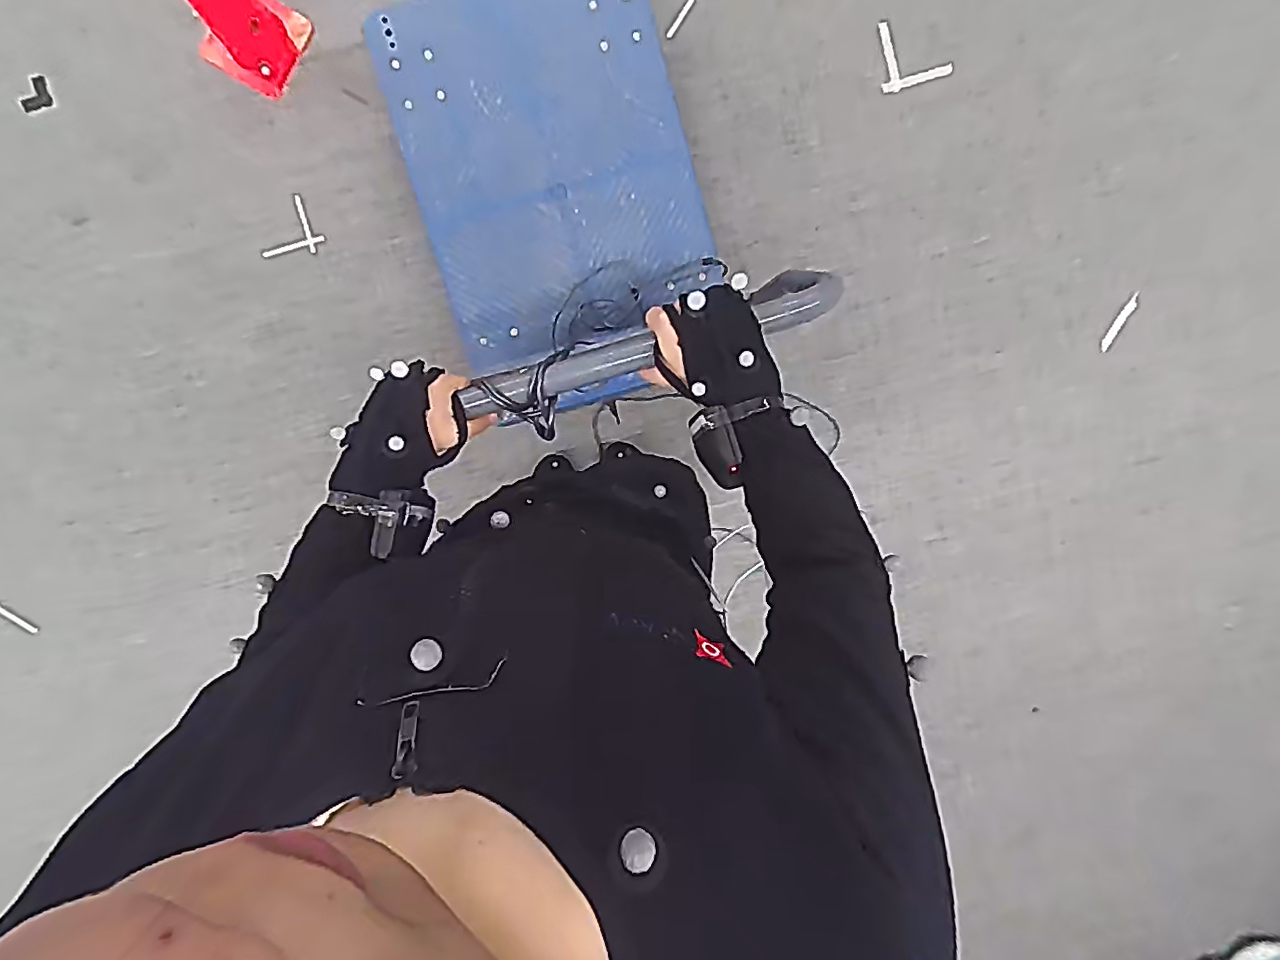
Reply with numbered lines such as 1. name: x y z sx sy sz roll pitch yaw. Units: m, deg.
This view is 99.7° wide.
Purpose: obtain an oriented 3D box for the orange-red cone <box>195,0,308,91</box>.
1. orange-red cone: -0.876 -1.007 1.065 0.198 0.360 0.199 31 93 -5
